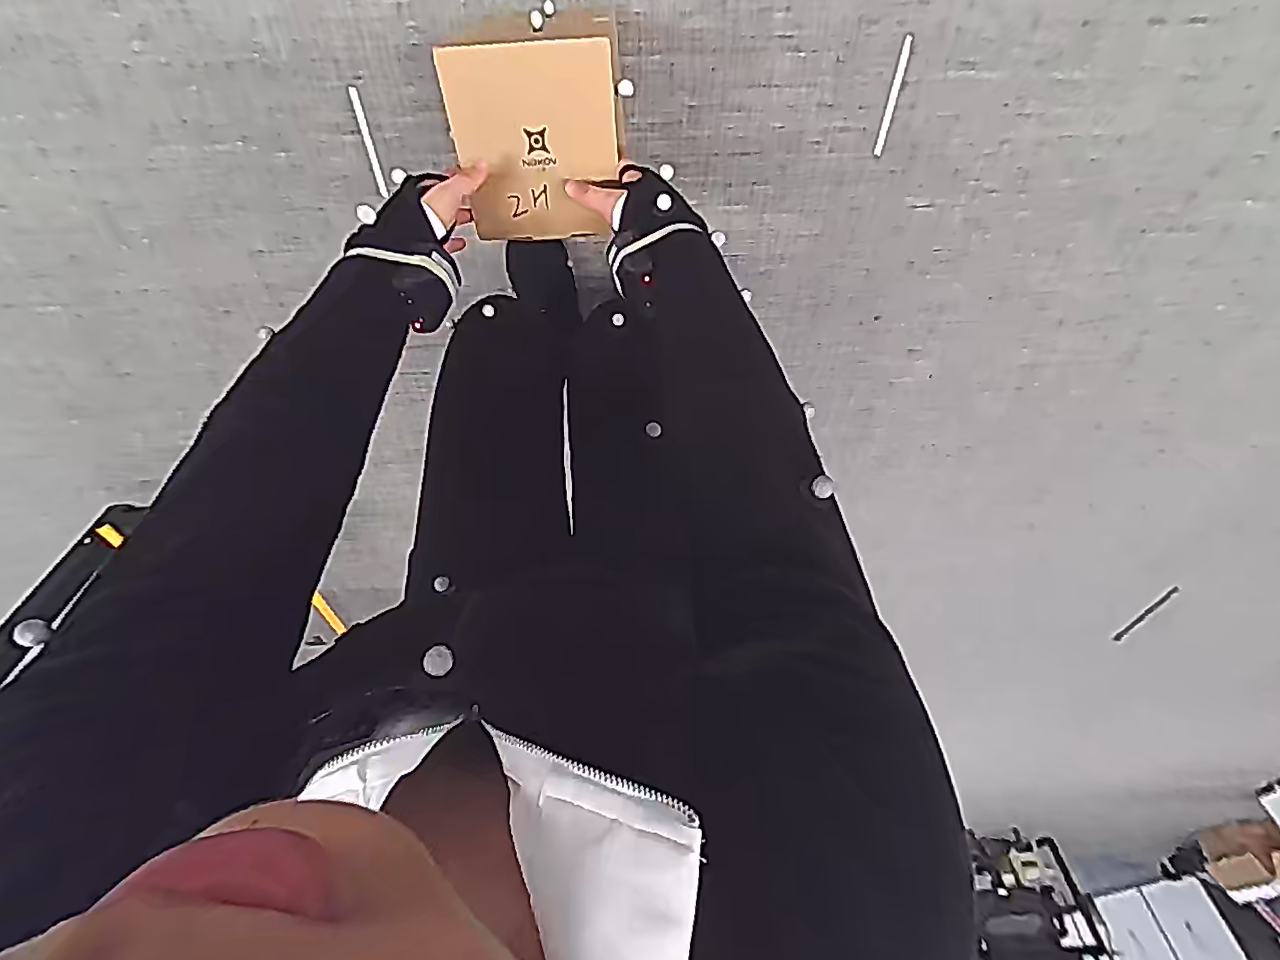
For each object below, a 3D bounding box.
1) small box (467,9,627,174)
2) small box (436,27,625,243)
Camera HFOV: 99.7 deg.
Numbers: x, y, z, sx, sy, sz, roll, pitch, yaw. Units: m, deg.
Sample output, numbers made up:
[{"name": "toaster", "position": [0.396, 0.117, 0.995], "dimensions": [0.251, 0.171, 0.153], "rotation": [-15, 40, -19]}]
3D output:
[{"name": "small box", "position": [-0.111, -0.514, 0.727], "dimensions": [0.179, 0.176, 0.168], "rotation": [-5, 135, 1]}, {"name": "small box", "position": [-0.102, -0.383, 0.597], "dimensions": [0.168, 0.176, 0.179], "rotation": [-2, 134, 1]}]
